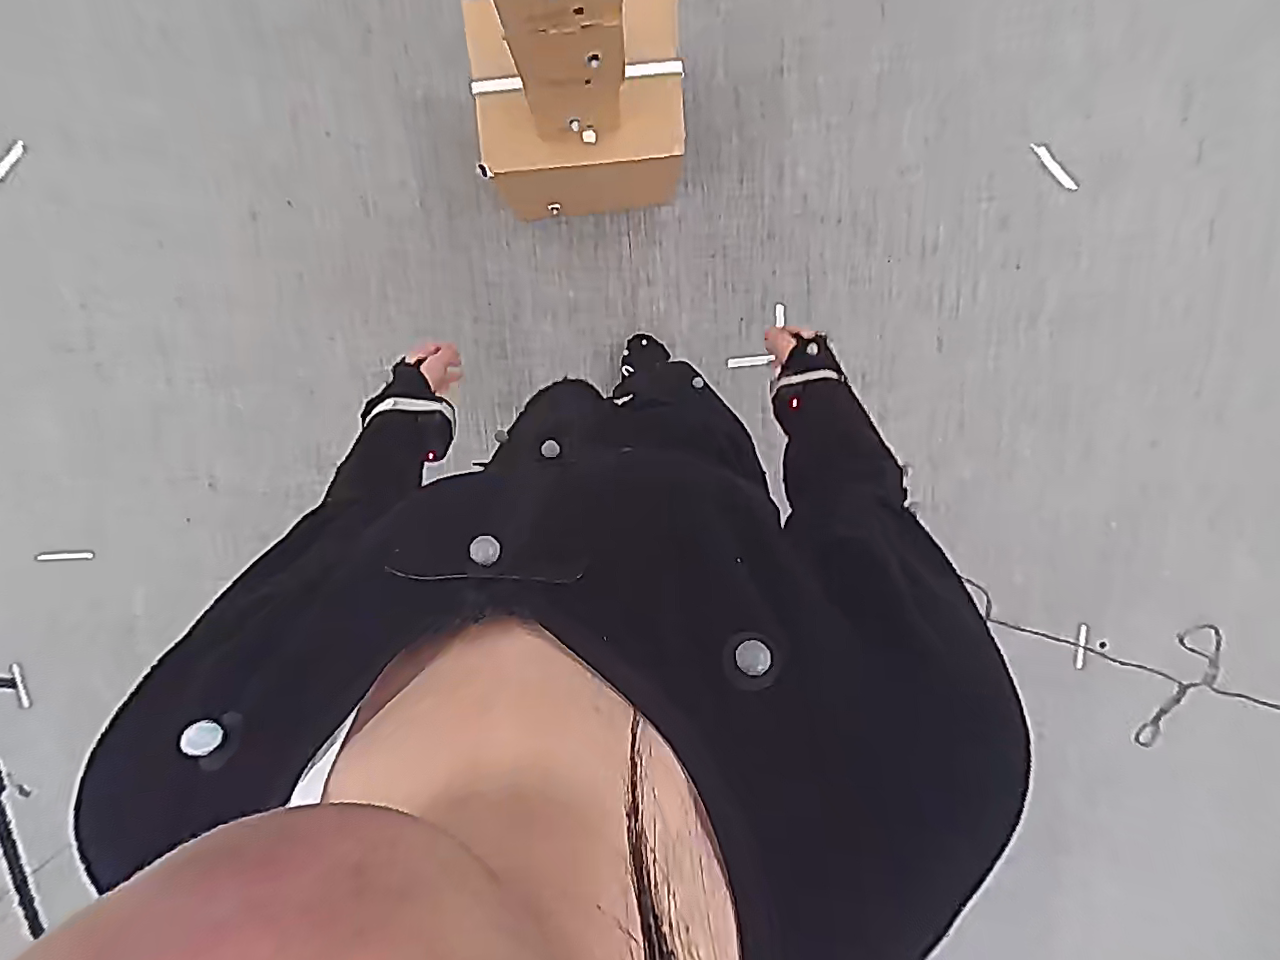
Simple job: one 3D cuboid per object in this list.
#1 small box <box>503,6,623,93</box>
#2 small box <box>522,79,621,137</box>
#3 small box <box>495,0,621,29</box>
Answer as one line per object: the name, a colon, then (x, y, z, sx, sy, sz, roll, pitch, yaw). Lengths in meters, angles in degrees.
small box: (-0.114, -0.712, 0.807, 0.168, 0.176, 0.179, -7, 100, -1)
small box: (-0.123, -0.748, 0.965, 0.168, 0.176, 0.179, -5, 102, 0)
small box: (-0.115, -0.684, 0.645, 0.168, 0.176, 0.179, -11, 101, 0)
